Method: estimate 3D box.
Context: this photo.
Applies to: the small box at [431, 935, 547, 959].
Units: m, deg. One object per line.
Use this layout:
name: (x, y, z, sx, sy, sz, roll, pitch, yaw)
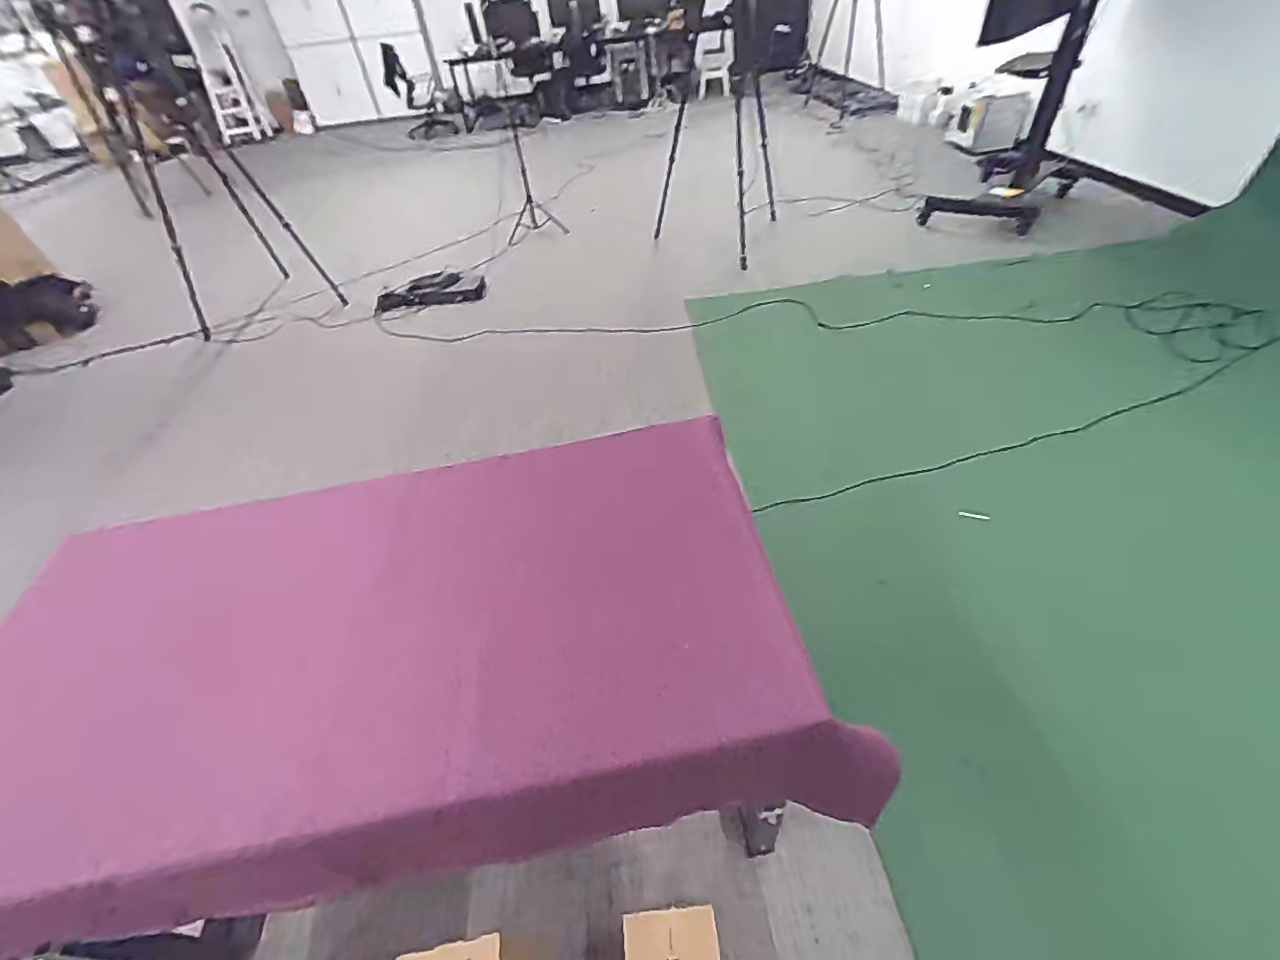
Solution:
small box: (-0.272, 0.949, 0.972, 0.179, 0.176, 0.168, -9, 44, -2)
